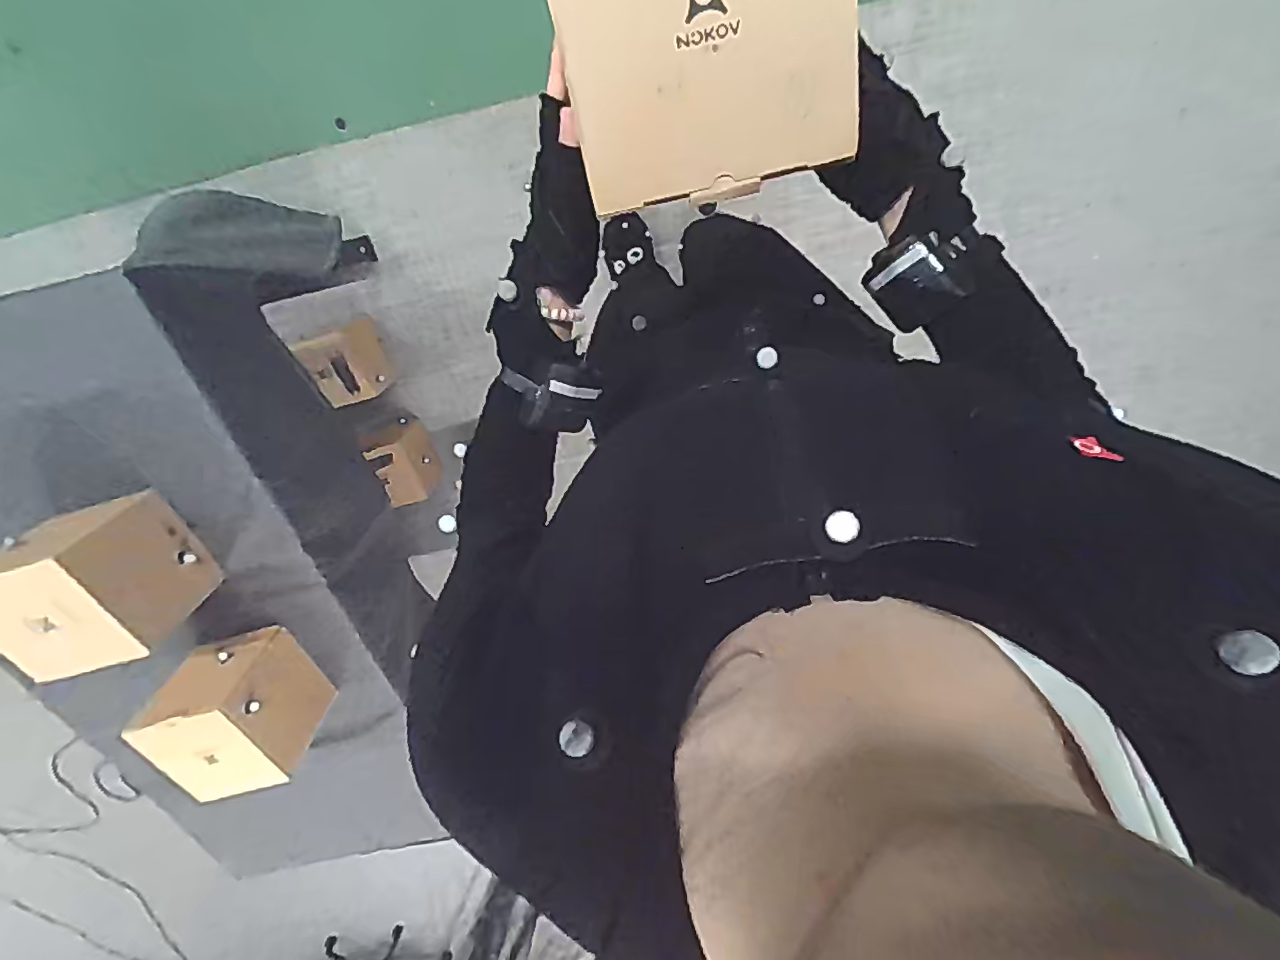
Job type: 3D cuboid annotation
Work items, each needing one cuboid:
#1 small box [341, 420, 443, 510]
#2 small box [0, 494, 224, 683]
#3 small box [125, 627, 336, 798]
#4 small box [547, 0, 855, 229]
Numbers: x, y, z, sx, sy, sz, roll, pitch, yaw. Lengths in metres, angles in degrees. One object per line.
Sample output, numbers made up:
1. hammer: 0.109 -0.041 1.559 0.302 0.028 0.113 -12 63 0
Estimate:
1. small box: -0.664 -0.049 1.467 0.168 0.176 0.179 -14 120 5
2. small box: -0.738 0.142 0.741 0.179 0.176 0.168 -15 119 6
3. small box: -0.637 0.371 0.873 0.168 0.176 0.179 -16 118 7
4. small box: 0.034 -0.287 0.366 0.168 0.176 0.179 -10 120 4
